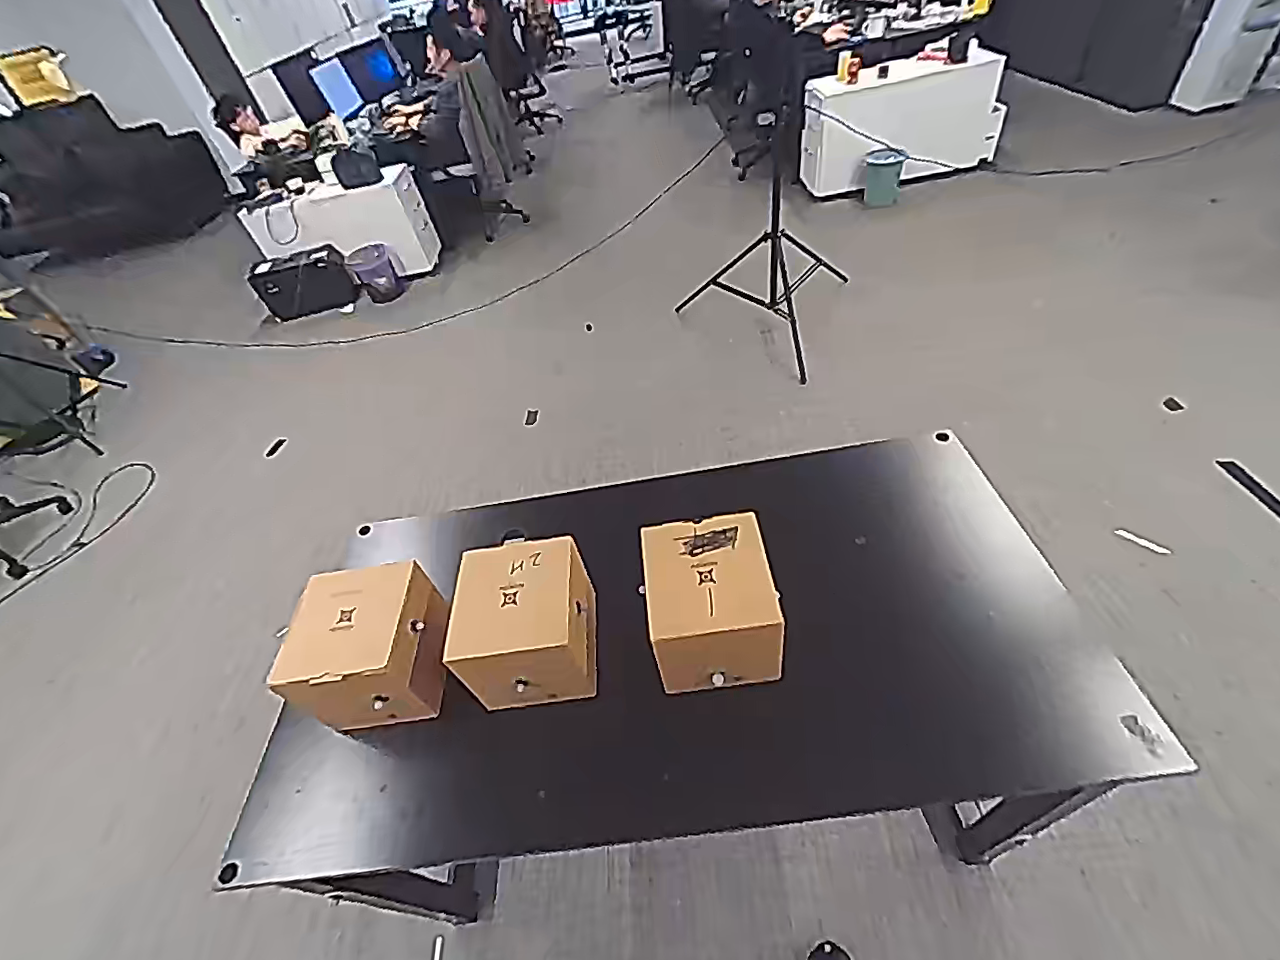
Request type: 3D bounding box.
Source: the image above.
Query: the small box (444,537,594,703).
[{"bbox_3d":[-0.163,0.212,0.795,0.168,0.176,0.179,-9,46,4],"label":"small box"}]

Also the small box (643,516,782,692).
[{"bbox_3d":[0.098,0.178,0.771,0.168,0.176,0.179,-9,46,4],"label":"small box"}]

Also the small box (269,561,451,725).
[{"bbox_3d":[-0.399,0.251,0.814,0.168,0.176,0.179,-9,44,2],"label":"small box"}]
